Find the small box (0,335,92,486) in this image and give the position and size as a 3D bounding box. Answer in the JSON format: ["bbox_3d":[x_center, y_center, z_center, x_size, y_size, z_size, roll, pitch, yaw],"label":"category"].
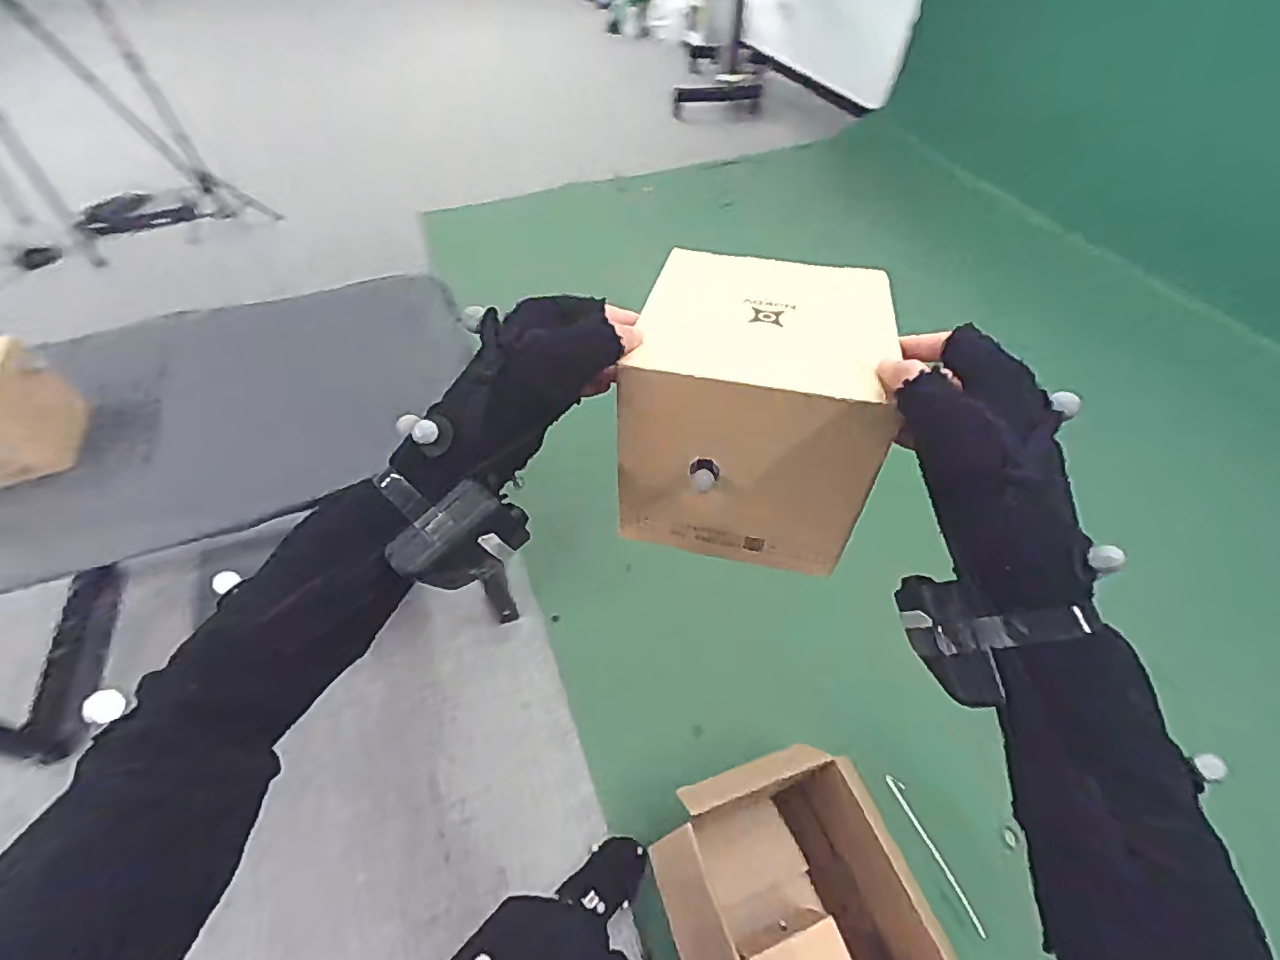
[{"bbox_3d":[-1.090,-0.110,0.911,0.168,0.176,0.179,-19,54,-14],"label":"small box"}]

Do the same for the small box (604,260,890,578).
[{"bbox_3d":[0.076,-0.048,0.420,0.168,0.176,0.179,9,44,8],"label":"small box"}]
